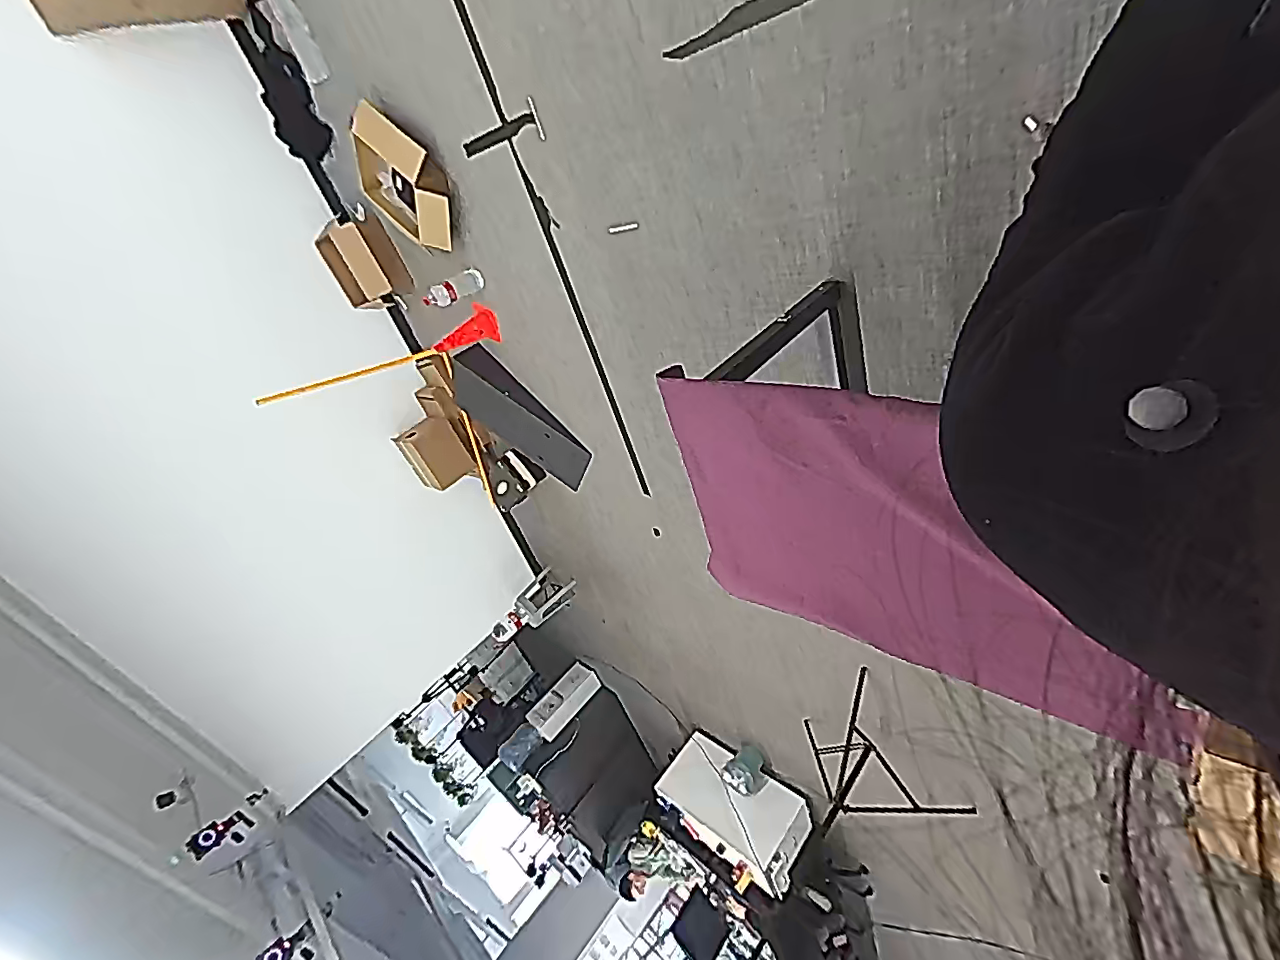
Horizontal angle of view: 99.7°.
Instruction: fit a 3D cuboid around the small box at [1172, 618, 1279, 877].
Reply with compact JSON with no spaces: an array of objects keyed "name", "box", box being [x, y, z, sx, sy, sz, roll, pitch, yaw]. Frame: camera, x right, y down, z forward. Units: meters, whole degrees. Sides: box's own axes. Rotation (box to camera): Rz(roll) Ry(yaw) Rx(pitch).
[{"name":"small box","box":[0.621,0.253,0.488,0.179,0.176,0.168,9,134,46]}]
